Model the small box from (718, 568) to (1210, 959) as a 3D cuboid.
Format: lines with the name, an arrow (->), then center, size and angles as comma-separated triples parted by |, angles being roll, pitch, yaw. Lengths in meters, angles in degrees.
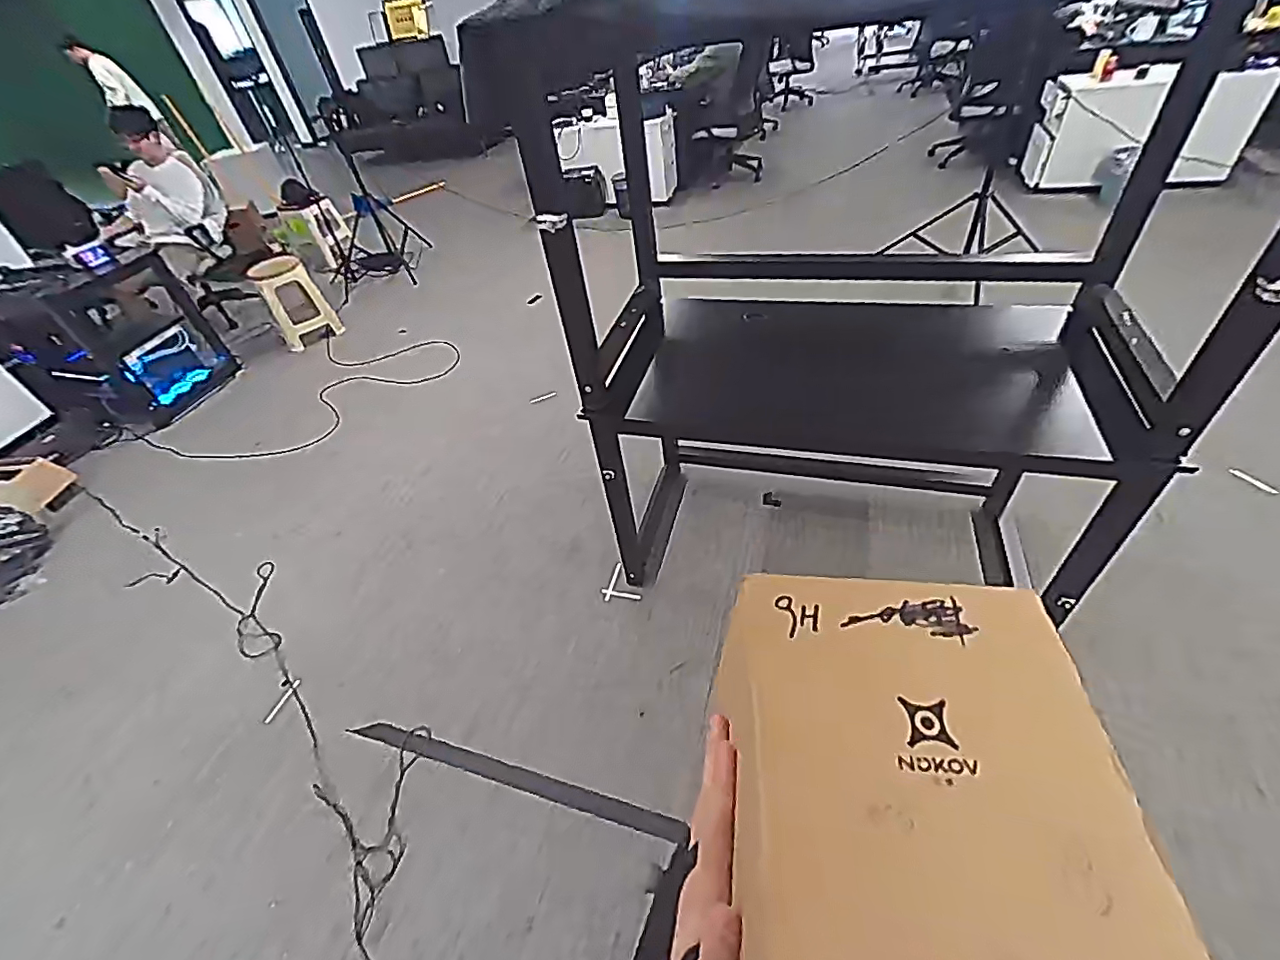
small box -> 0.136, 0.172, 0.309 | 0.168, 0.176, 0.179 | 3, 50, 3
